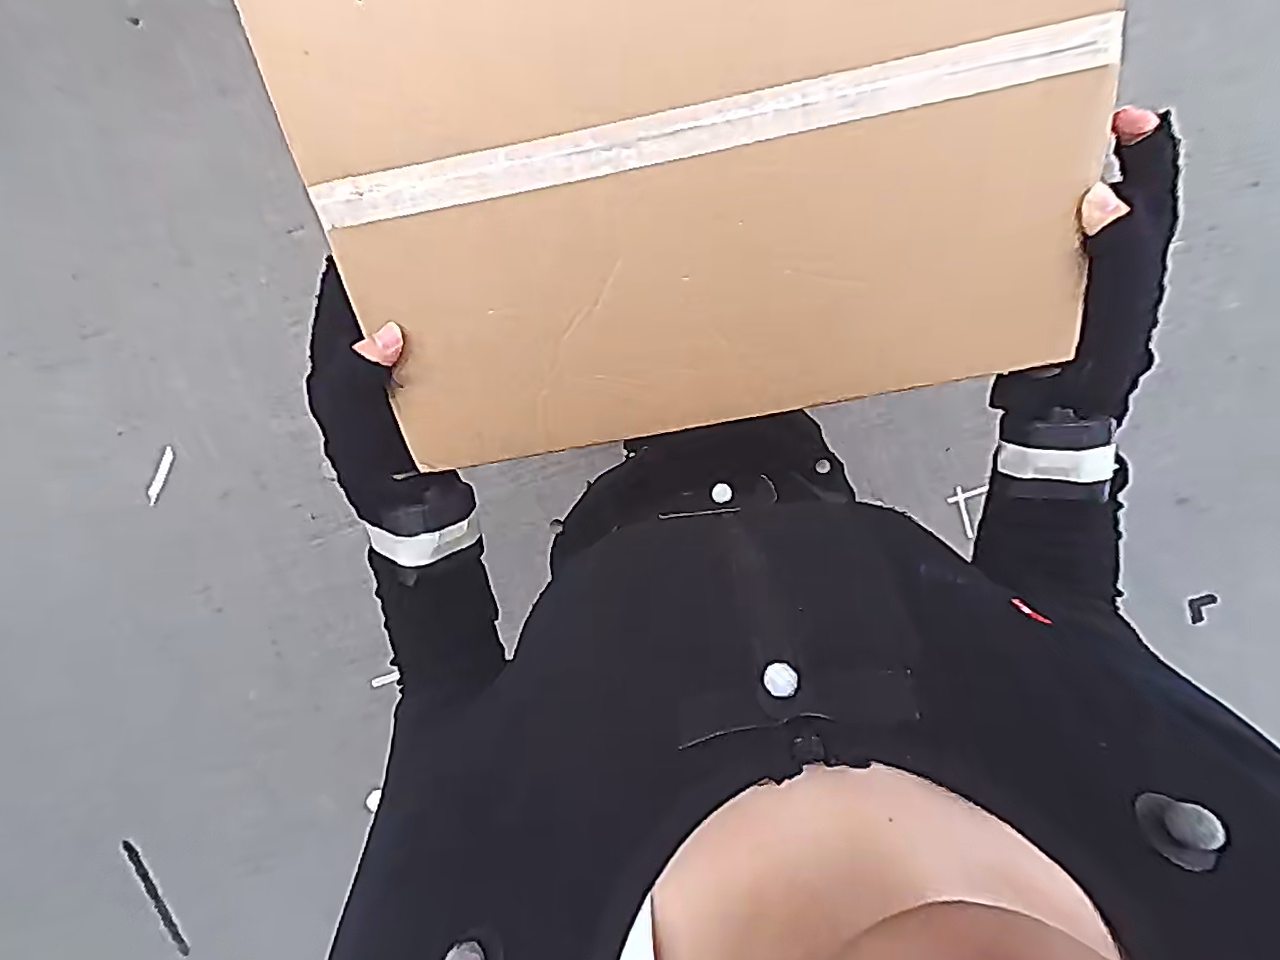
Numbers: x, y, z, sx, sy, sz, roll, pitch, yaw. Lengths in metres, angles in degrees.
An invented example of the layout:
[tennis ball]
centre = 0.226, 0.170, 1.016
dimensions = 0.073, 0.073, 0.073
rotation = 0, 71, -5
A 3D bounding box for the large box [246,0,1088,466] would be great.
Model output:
[large box]
centre = 0.023, -0.243, 0.417
dimensions = 0.408, 0.320, 0.320
rotation = -10, 114, 3
